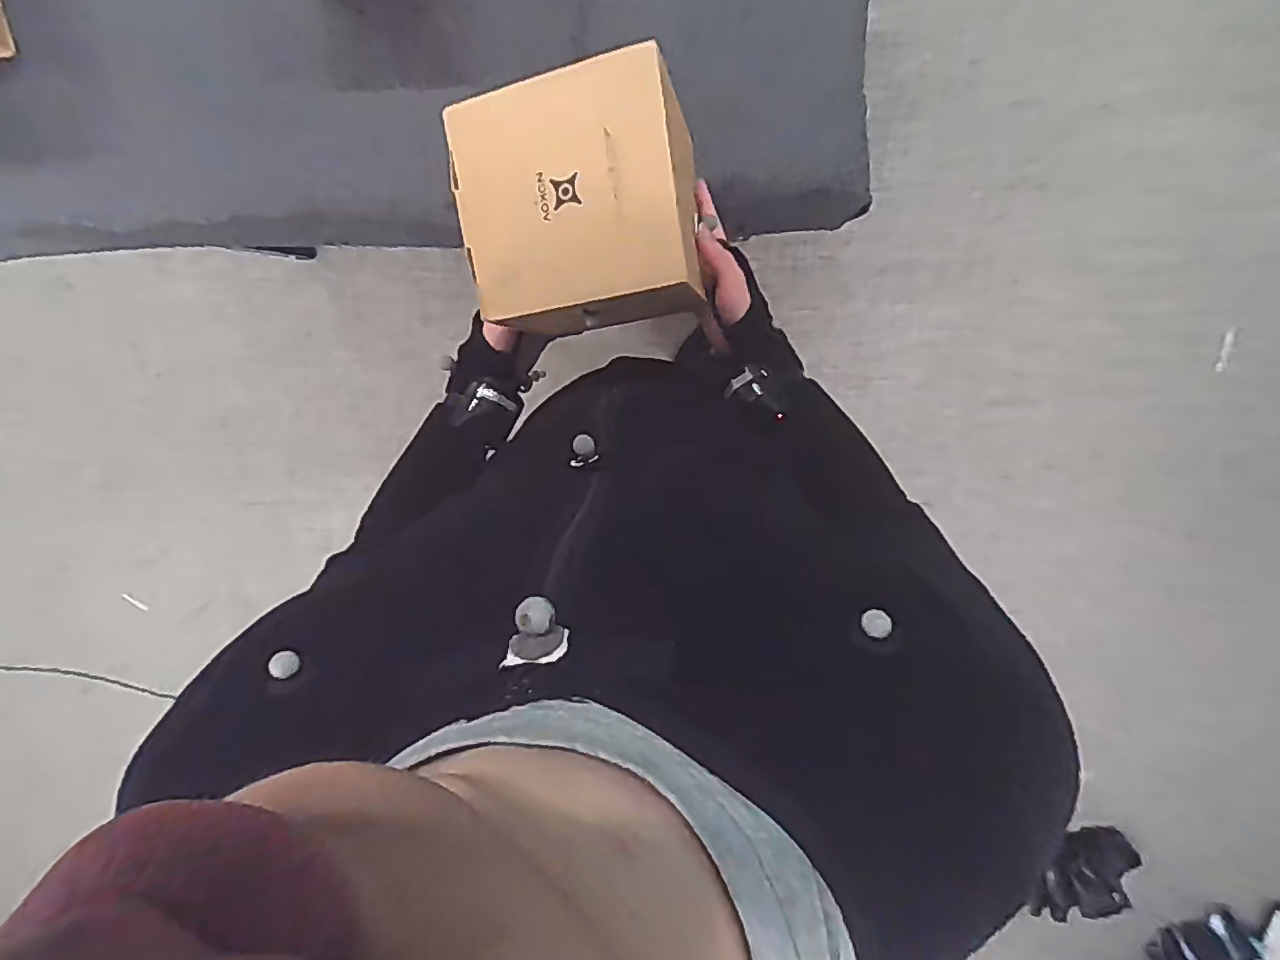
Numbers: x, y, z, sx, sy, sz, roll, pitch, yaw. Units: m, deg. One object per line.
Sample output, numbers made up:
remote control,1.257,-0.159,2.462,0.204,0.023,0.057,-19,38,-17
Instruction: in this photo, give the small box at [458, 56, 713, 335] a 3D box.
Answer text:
small box,-0.034,-0.234,0.500,0.179,0.176,0.168,-7,100,13
